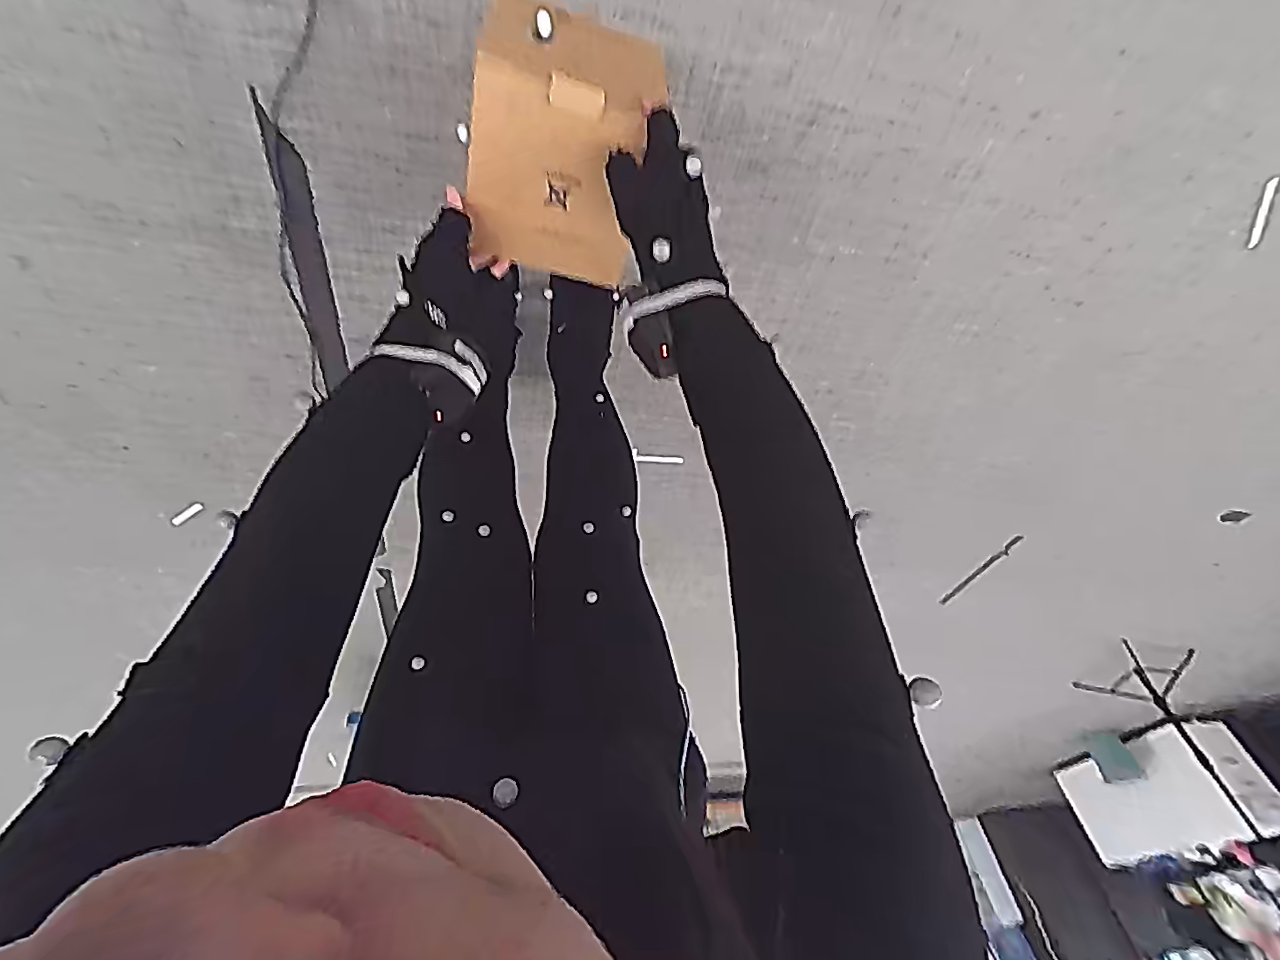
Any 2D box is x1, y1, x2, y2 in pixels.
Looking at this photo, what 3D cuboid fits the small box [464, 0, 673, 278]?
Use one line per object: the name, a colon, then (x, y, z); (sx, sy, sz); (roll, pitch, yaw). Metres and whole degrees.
small box: (-0.078, -0.349, 0.553); (0.168, 0.176, 0.179); (10, 146, -16)
